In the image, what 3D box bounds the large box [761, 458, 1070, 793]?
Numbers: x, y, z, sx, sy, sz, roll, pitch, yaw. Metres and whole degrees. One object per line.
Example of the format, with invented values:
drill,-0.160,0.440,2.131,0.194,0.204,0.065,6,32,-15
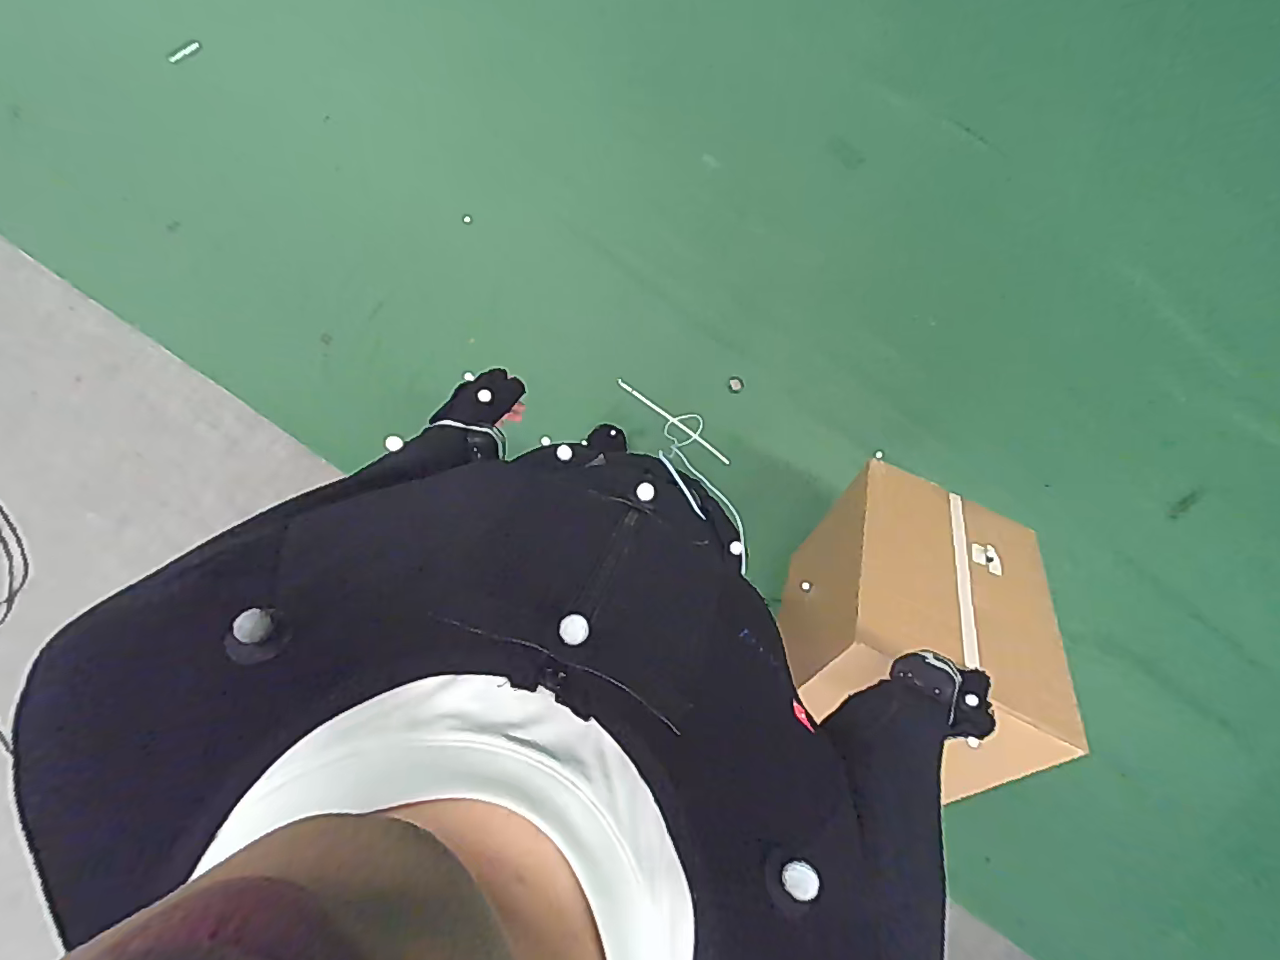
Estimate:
large box,0.440,0.244,0.943,0.320,0.408,0.320,27,134,3
